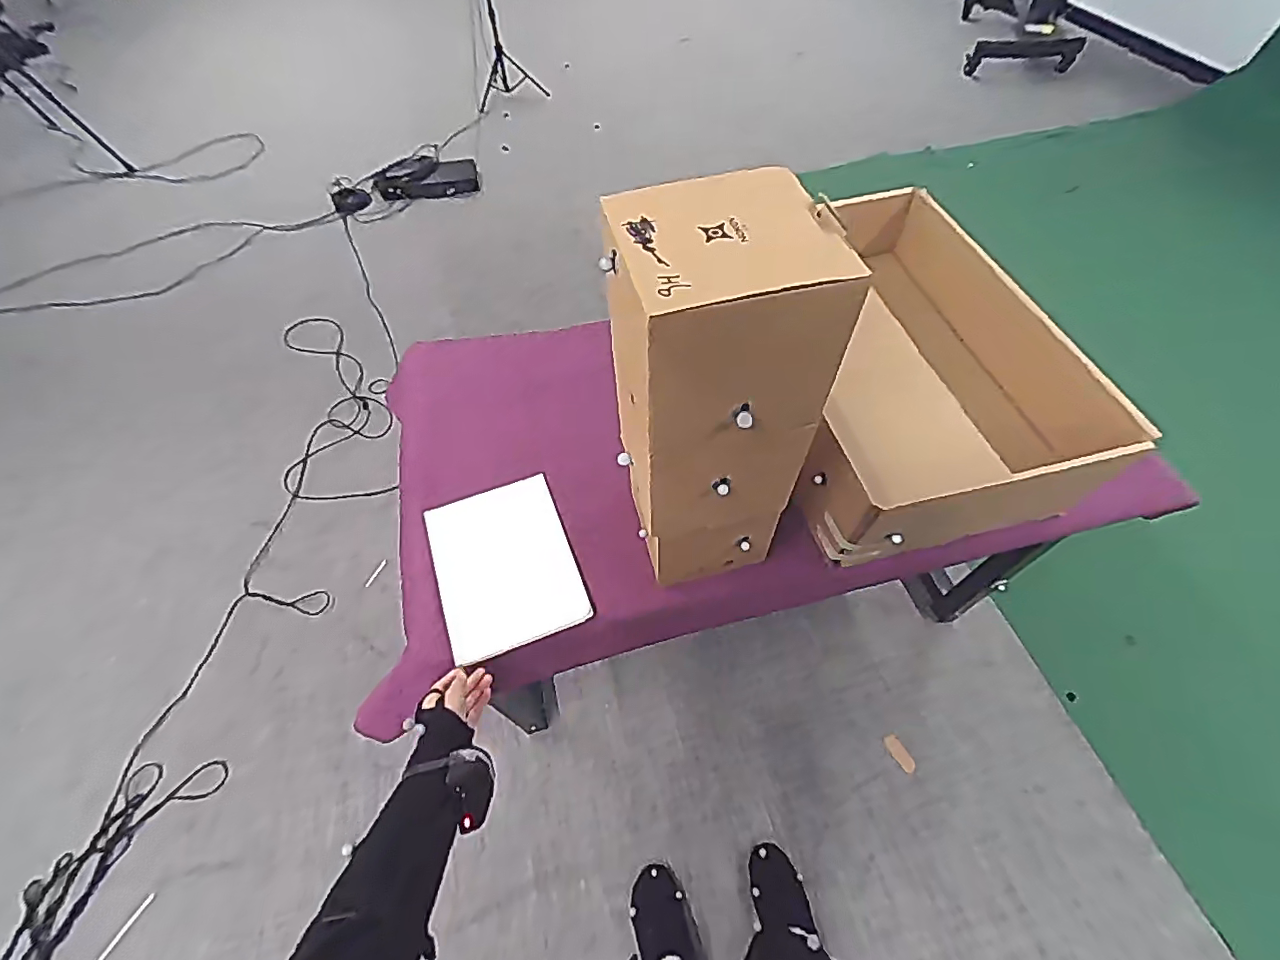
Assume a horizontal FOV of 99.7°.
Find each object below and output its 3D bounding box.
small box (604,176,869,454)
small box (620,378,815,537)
[{"bbox_3d":[0.070,-0.147,0.499,0.179,0.176,0.168,-12,55,-7],"label":"small box"},{"bbox_3d":[0.075,-0.055,0.636,0.179,0.176,0.168,-12,56,-6],"label":"small box"}]
